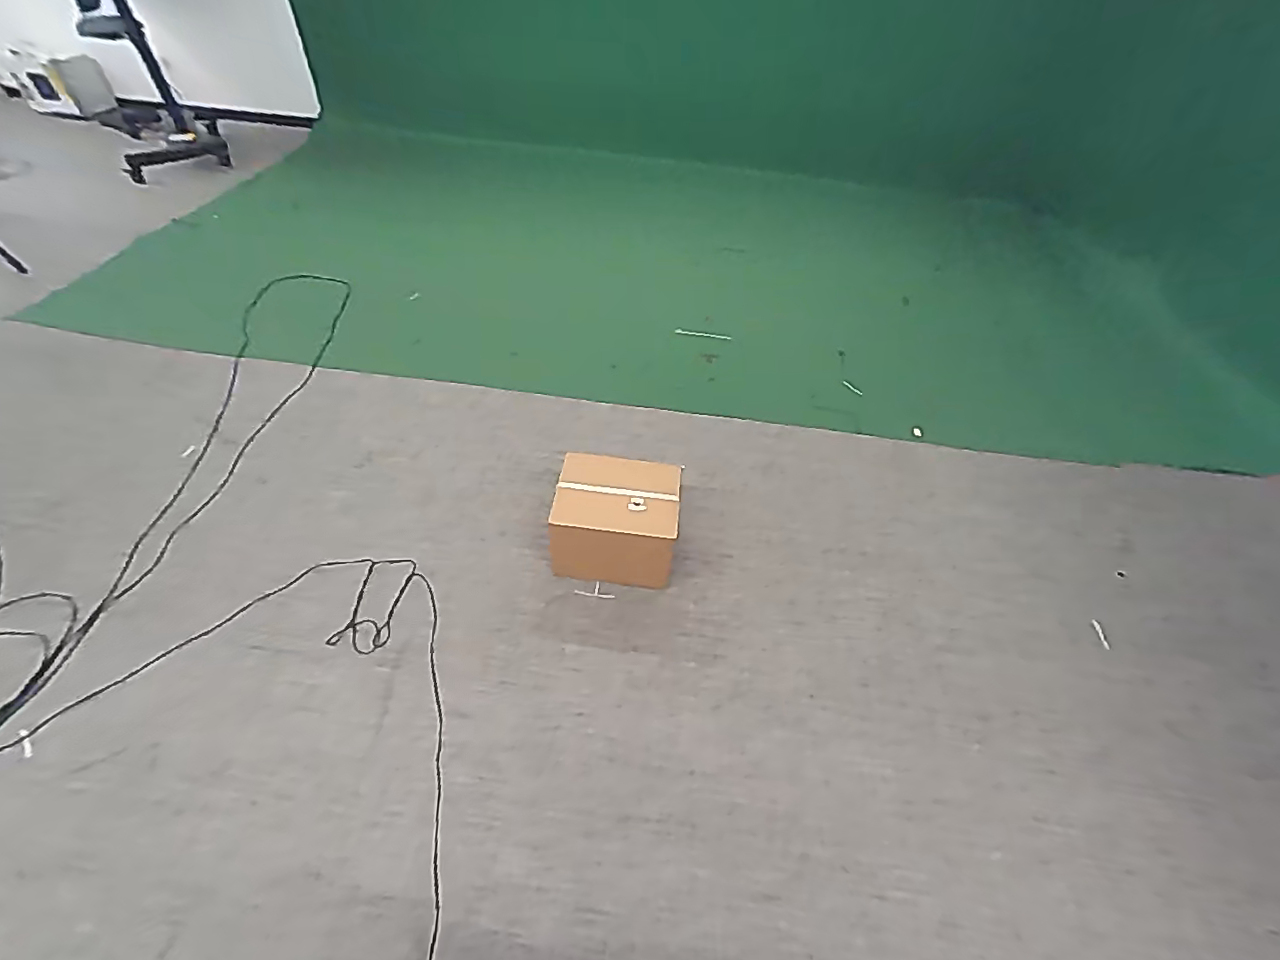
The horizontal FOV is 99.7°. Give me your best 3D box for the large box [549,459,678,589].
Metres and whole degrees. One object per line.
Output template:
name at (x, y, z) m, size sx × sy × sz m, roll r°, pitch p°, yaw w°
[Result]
large box at (-0.089, 0.156, 1.889) m, size 0.408 × 0.320 × 0.320 m, roll 7°, pitch 48°, yaw 0°
